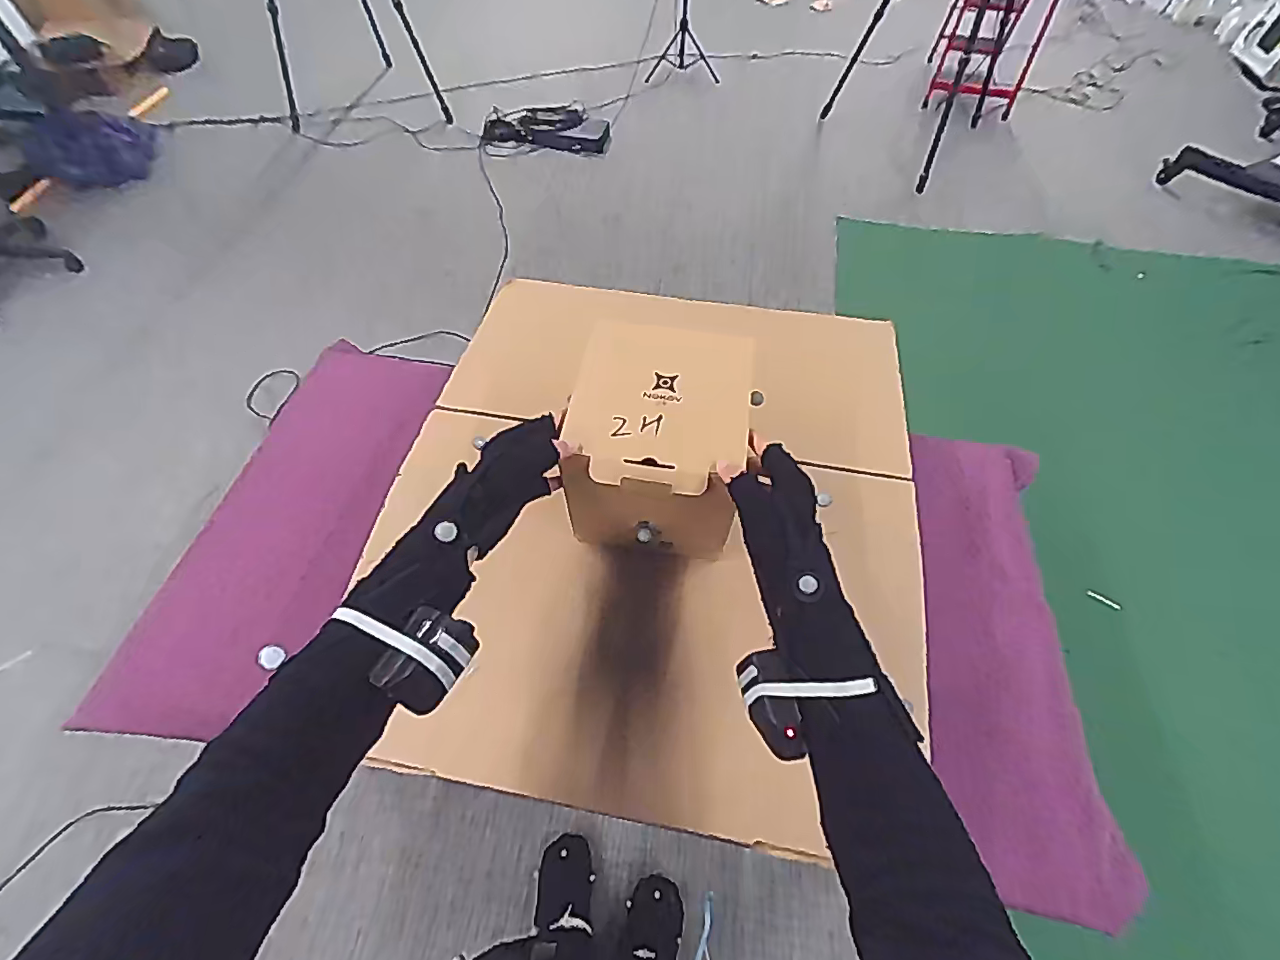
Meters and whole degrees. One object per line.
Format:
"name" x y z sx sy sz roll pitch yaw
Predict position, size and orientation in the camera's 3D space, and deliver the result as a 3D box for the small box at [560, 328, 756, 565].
"small box" 0.022 -0.032 0.576 0.168 0.176 0.179 8 58 6
